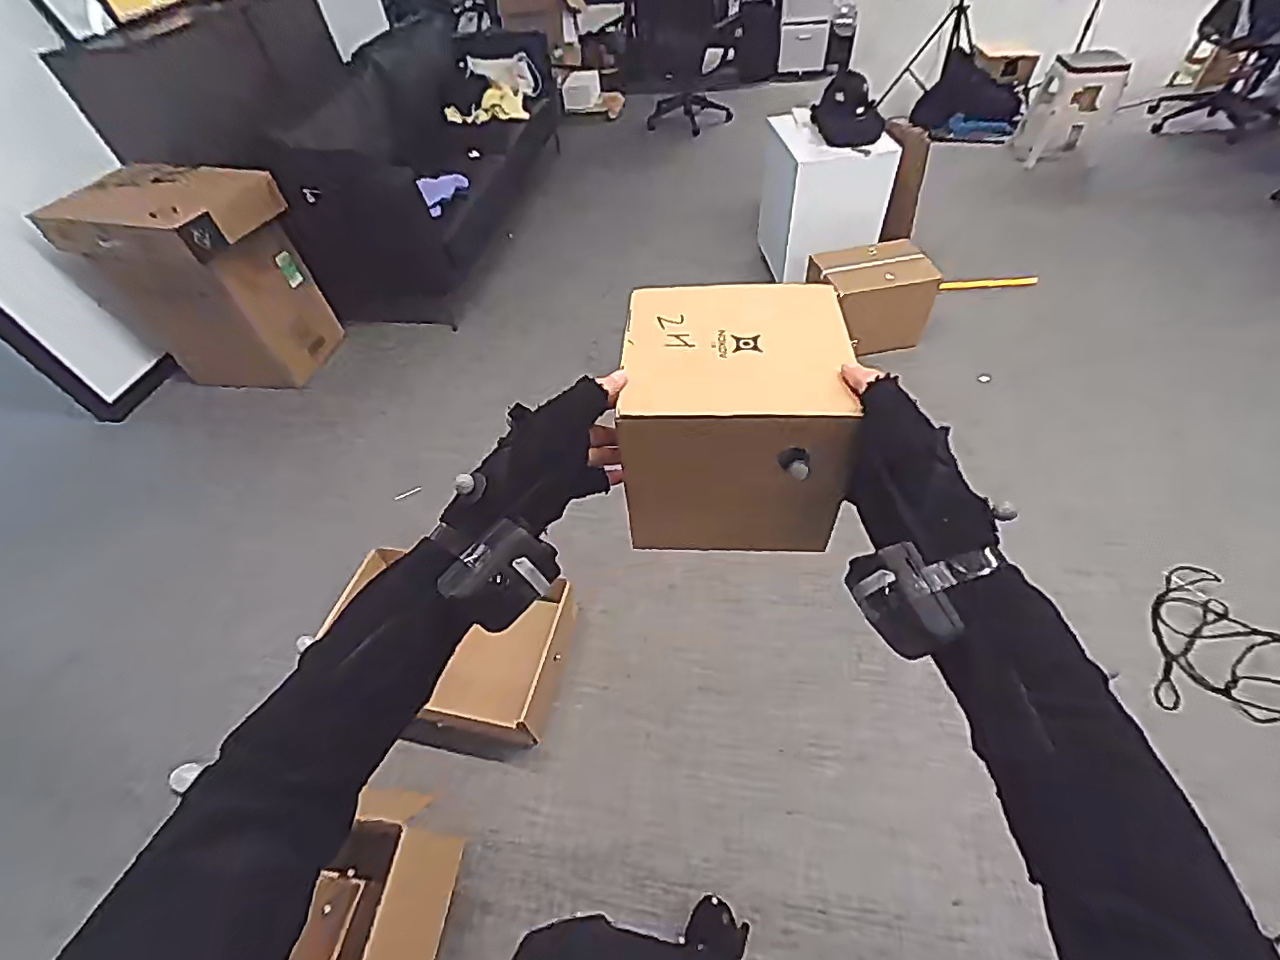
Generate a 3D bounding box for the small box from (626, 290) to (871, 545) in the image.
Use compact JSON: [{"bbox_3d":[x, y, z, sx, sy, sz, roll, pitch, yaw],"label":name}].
[{"bbox_3d":[0.085,-0.053,0.494,0.179,0.176,0.168,0,49,5],"label":"small box"}]
